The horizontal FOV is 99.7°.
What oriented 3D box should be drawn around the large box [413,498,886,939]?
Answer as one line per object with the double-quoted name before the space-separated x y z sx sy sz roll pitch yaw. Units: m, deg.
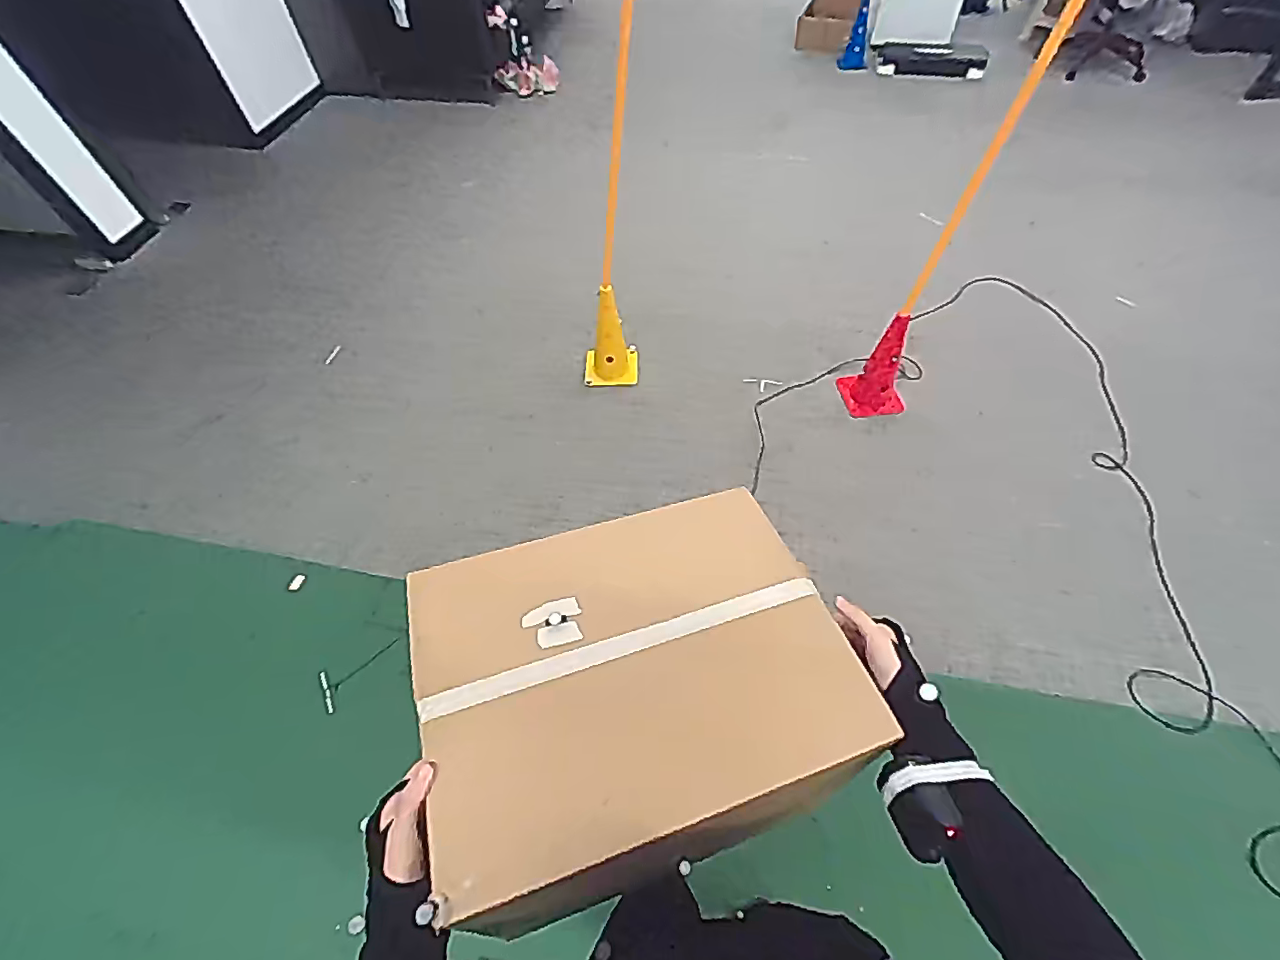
"large box" -0.009 0.276 0.649 0.408 0.320 0.320 -14 49 -13
